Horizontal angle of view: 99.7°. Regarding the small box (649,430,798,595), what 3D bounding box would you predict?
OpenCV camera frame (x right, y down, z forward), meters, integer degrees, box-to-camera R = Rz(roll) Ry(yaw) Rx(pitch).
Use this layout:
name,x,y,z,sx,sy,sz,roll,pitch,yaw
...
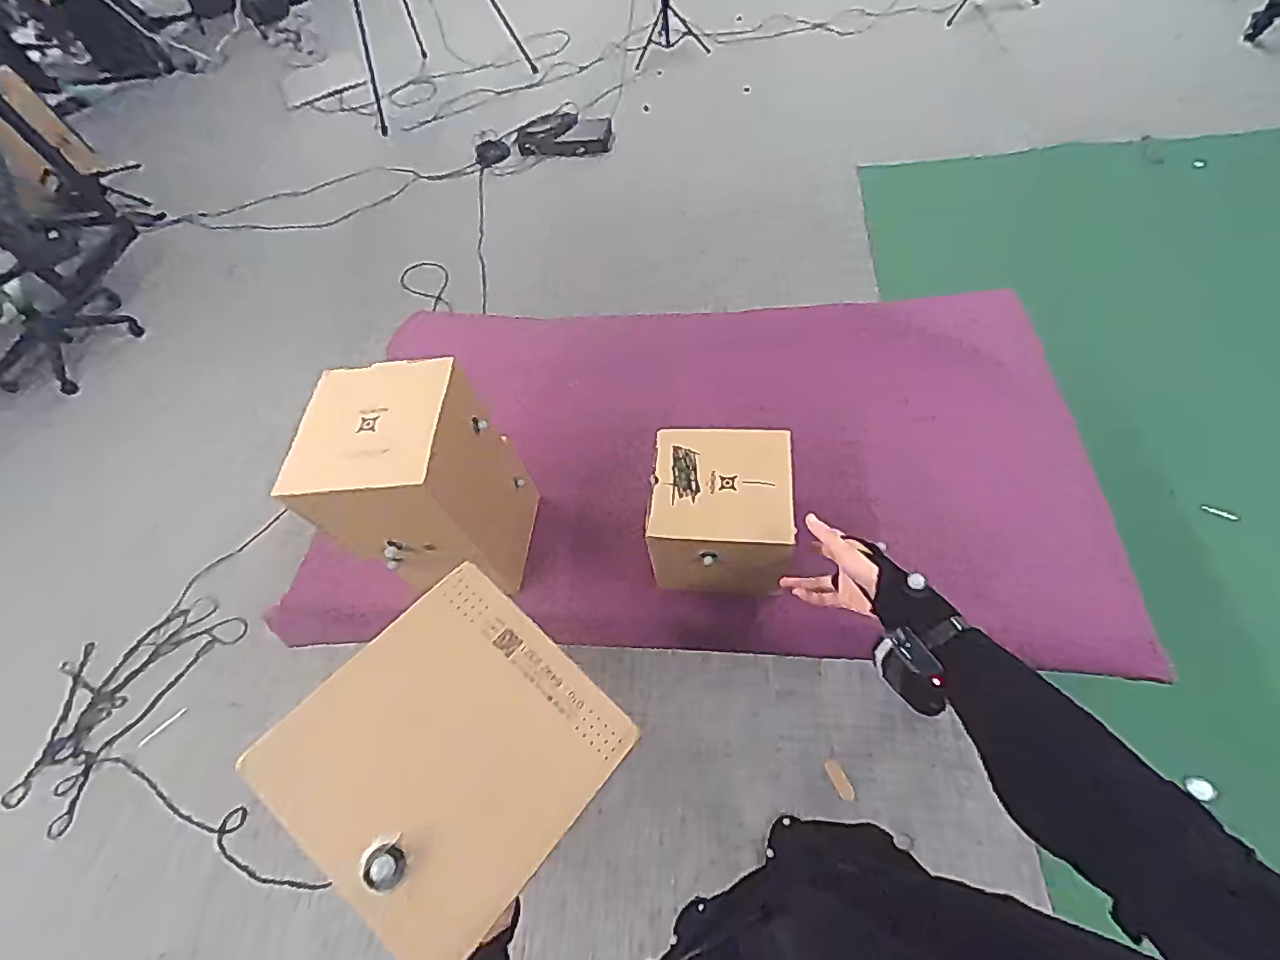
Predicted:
name,x,y,z,sx,sy,sz,roll,pitch,yaw
small box,0.115,0.048,0.738,0.179,0.176,0.168,2,58,9

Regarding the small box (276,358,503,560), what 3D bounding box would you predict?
name,x,y,z,sx,sy,sz,roll,pitch,yaw
small box,-0.274,-0.020,0.645,0.168,0.176,0.179,-4,57,7

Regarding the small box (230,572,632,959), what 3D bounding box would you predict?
name,x,y,z,sx,sy,sz,roll,pitch,yaw
small box,-0.126,0.194,0.389,0.168,0.179,0.176,42,64,8
